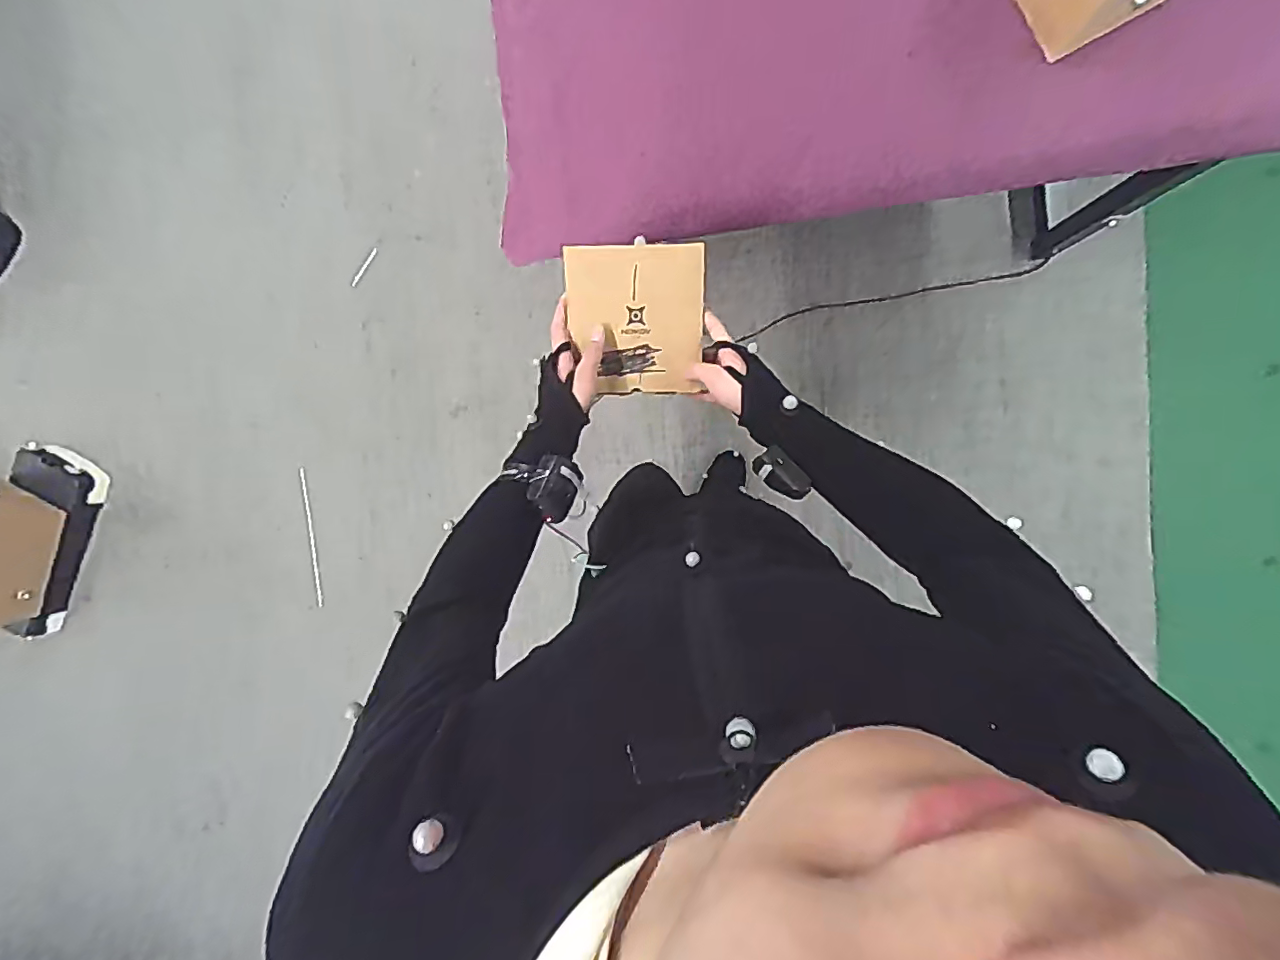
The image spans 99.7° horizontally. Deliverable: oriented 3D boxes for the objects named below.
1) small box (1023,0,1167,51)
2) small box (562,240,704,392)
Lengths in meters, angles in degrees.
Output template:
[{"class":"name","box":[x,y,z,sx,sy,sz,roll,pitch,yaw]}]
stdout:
[{"class":"small box","box":[0.610,-0.694,0.677,0.168,0.176,0.179,-26,90,10]},{"class":"small box","box":[-0.006,-0.219,0.718,0.168,0.176,0.179,0,110,1]}]
